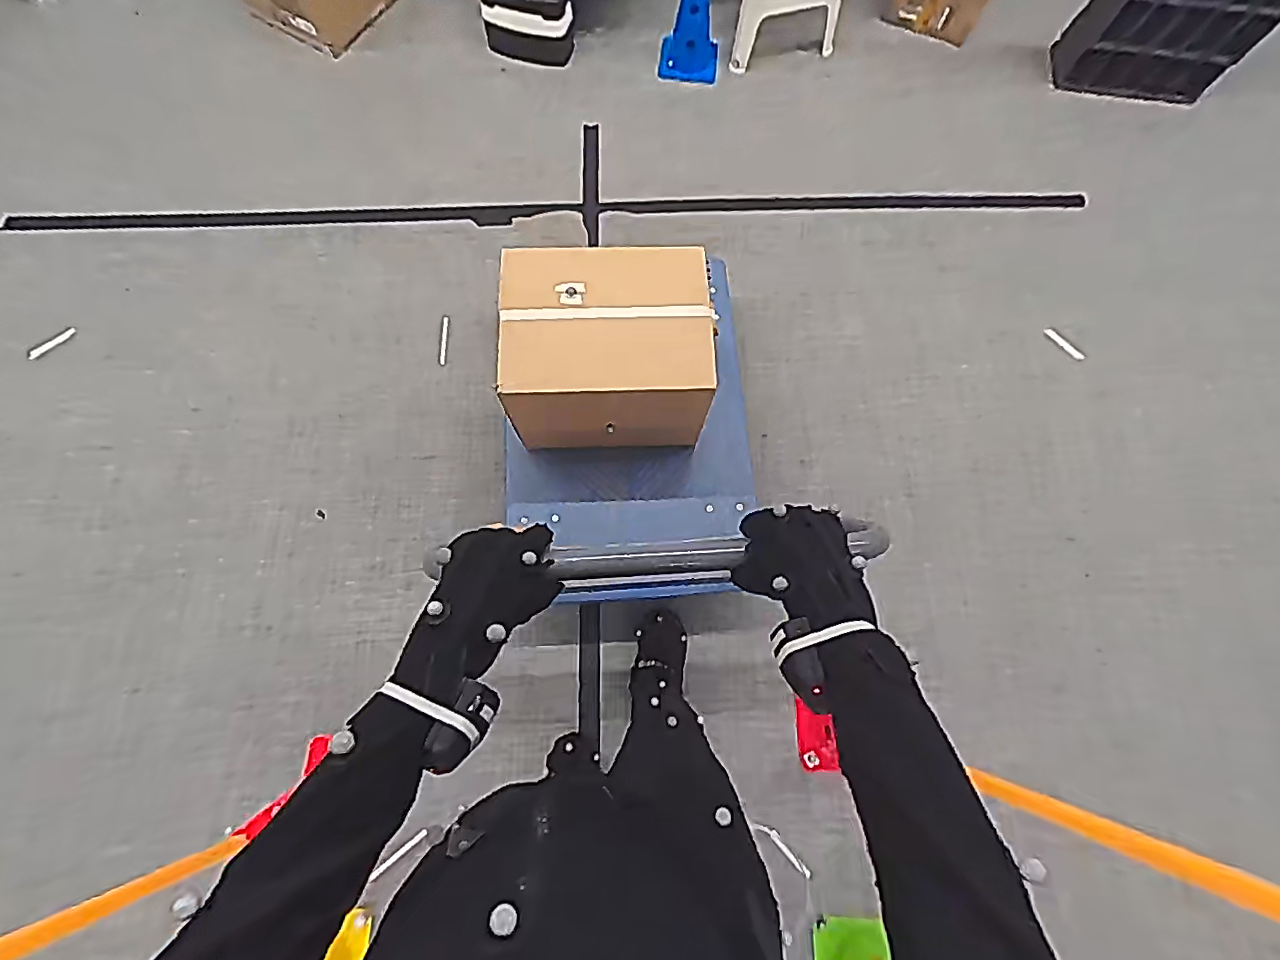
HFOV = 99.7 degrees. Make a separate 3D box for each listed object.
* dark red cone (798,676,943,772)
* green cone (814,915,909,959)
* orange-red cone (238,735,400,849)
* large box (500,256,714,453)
[{"bbox_3d":[0.479,0.514,1.092,0.201,0.394,0.202,-1,73,-4],"label":"dark red cone"},{"bbox_3d":[0.475,0.983,0.968,0.202,0.368,0.200,2,73,-2],"label":"green cone"},{"bbox_3d":[-0.648,0.634,1.050,0.198,0.360,0.199,6,72,0],"label":"orange-red cone"},{"bbox_3d":[-0.068,-0.255,1.183,0.408,0.320,0.320,-2,74,-2],"label":"large box"}]
